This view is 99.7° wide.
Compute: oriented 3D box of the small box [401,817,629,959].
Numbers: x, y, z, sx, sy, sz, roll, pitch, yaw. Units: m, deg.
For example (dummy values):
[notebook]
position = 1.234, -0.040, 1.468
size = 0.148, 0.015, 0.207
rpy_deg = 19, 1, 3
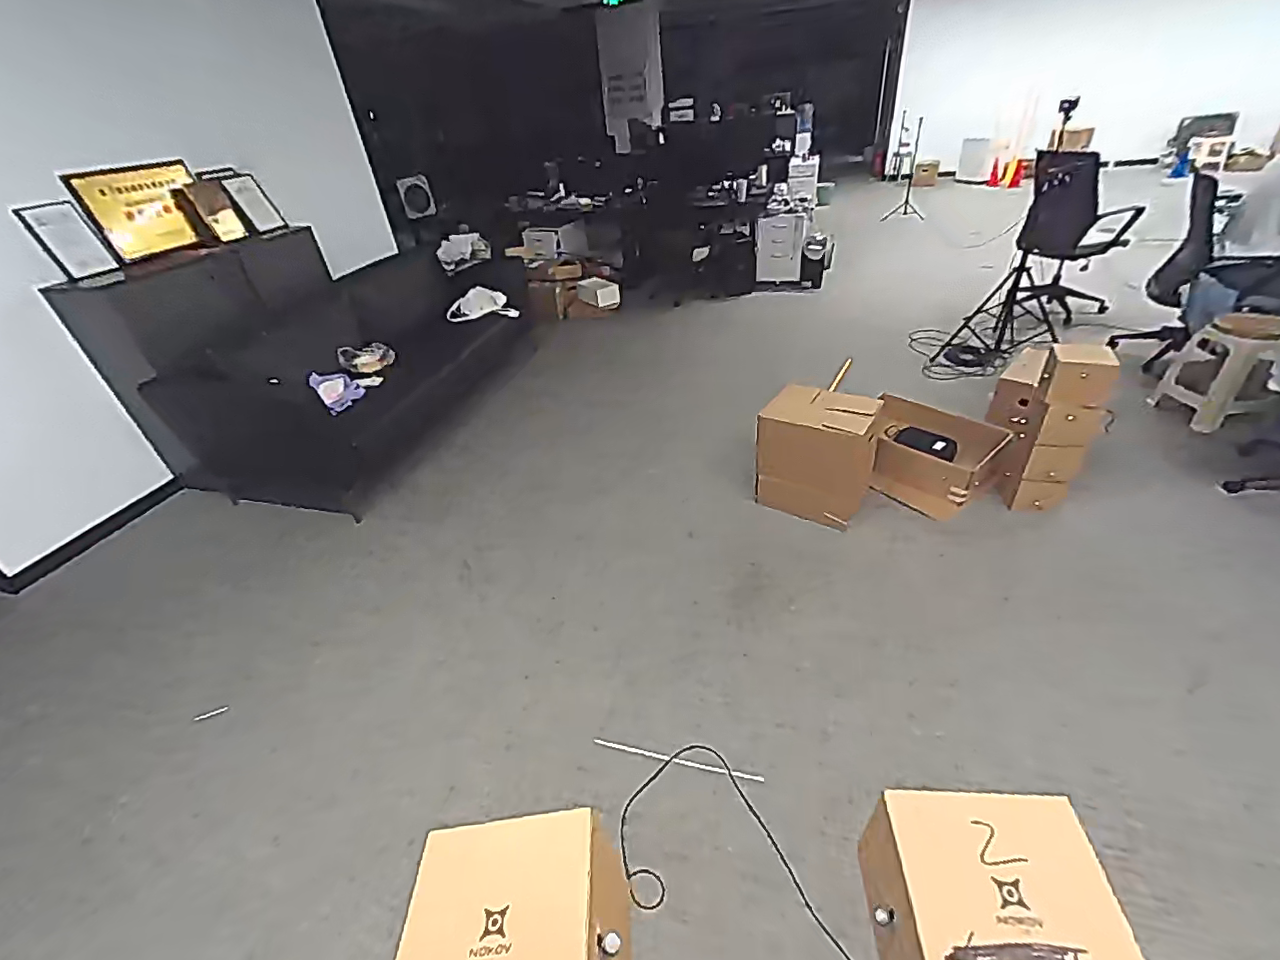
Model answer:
[small box]
position = -0.106, 0.452, 0.499
size = 0.168, 0.176, 0.179
rpy_deg = -11, 32, 4
